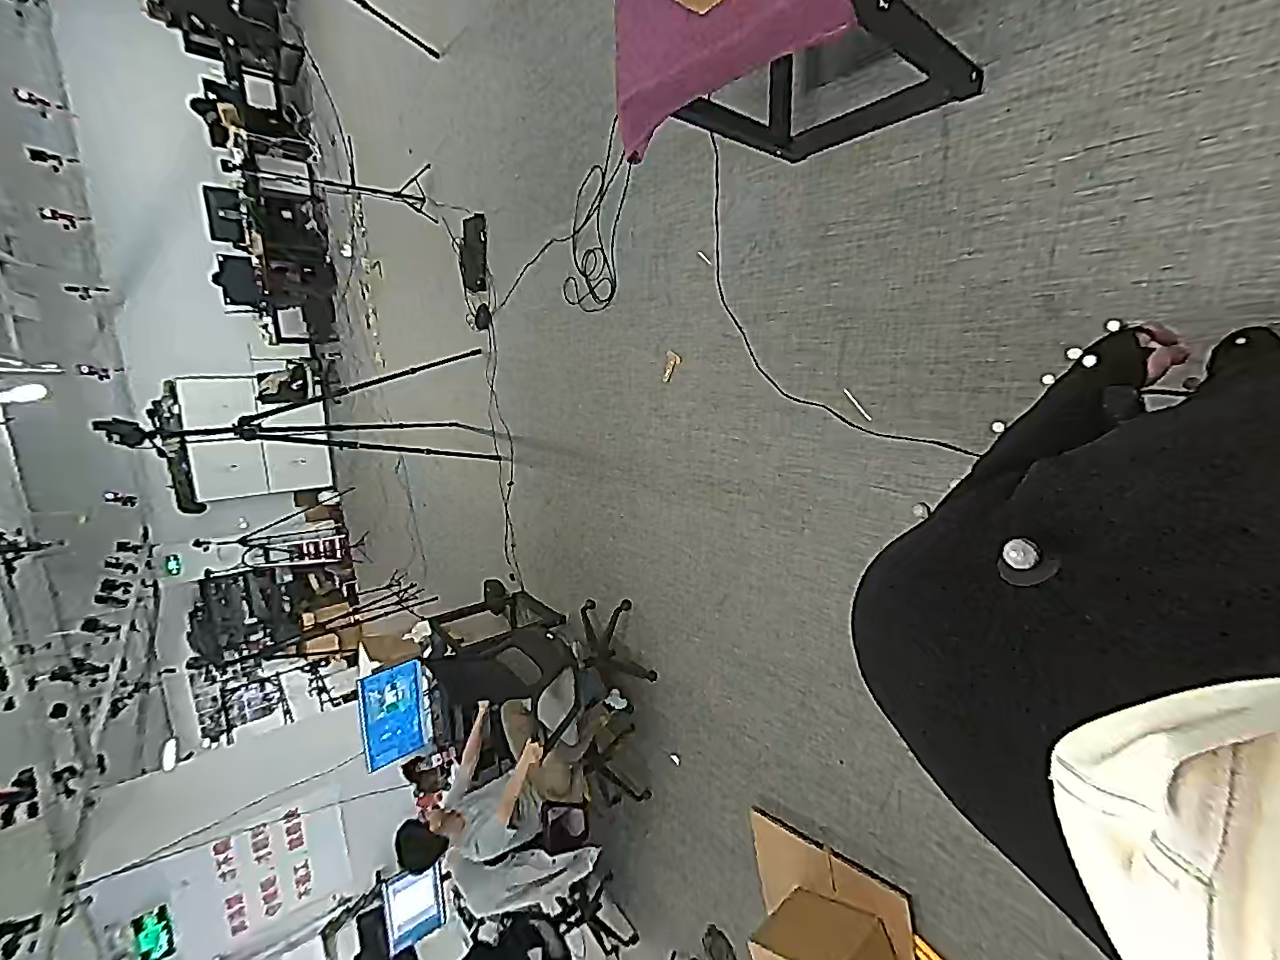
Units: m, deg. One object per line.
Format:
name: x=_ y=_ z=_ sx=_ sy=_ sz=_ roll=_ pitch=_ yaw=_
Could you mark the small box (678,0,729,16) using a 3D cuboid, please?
small box: x=0.130 y=-1.035 z=1.021 sx=0.179 sy=0.176 sz=0.168 roll=12 pitch=107 yaw=51
